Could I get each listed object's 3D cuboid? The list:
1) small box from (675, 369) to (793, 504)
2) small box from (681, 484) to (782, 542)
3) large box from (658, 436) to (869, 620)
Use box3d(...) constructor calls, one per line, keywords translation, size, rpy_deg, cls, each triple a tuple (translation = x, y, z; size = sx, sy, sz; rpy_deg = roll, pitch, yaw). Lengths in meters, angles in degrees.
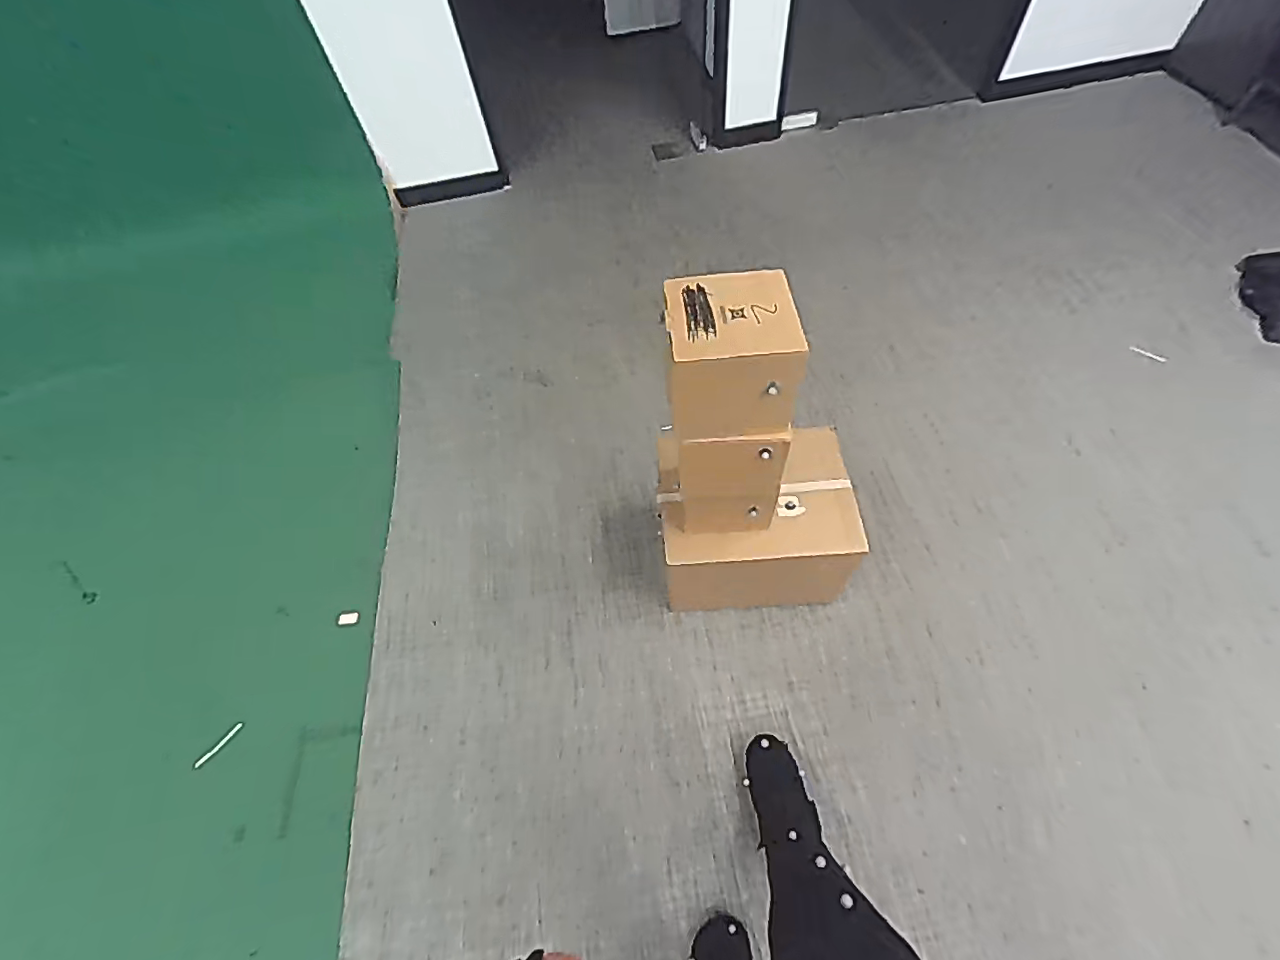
box3d(translation=(0.151, -0.069, 0.926), size=(0.179, 0.176, 0.168), rpy_deg=(-2, 57, 3), cls="small box")
box3d(translation=(0.170, 0.011, 1.066), size=(0.179, 0.176, 0.168), rpy_deg=(-5, 56, 3), cls="small box")
box3d(translation=(0.256, 0.123, 1.275), size=(0.408, 0.320, 0.320), rpy_deg=(-4, 59, 2), cls="large box")
